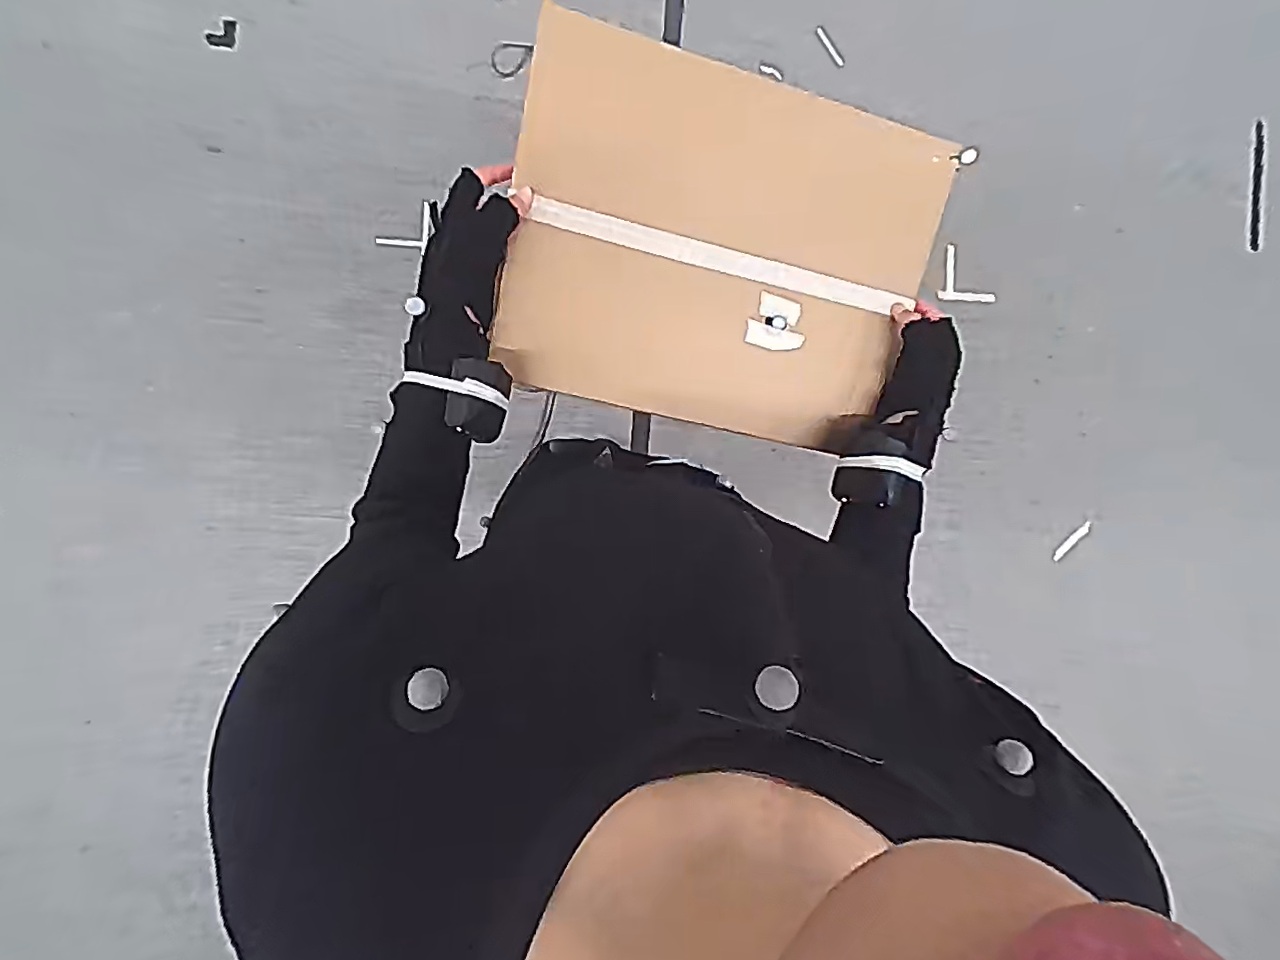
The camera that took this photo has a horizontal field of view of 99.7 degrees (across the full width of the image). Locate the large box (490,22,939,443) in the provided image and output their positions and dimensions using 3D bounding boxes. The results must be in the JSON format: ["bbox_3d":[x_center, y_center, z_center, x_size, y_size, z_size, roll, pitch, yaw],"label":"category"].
[{"bbox_3d":[0.054,-0.253,0.673,0.408,0.320,0.320,11,103,-10],"label":"large box"}]
